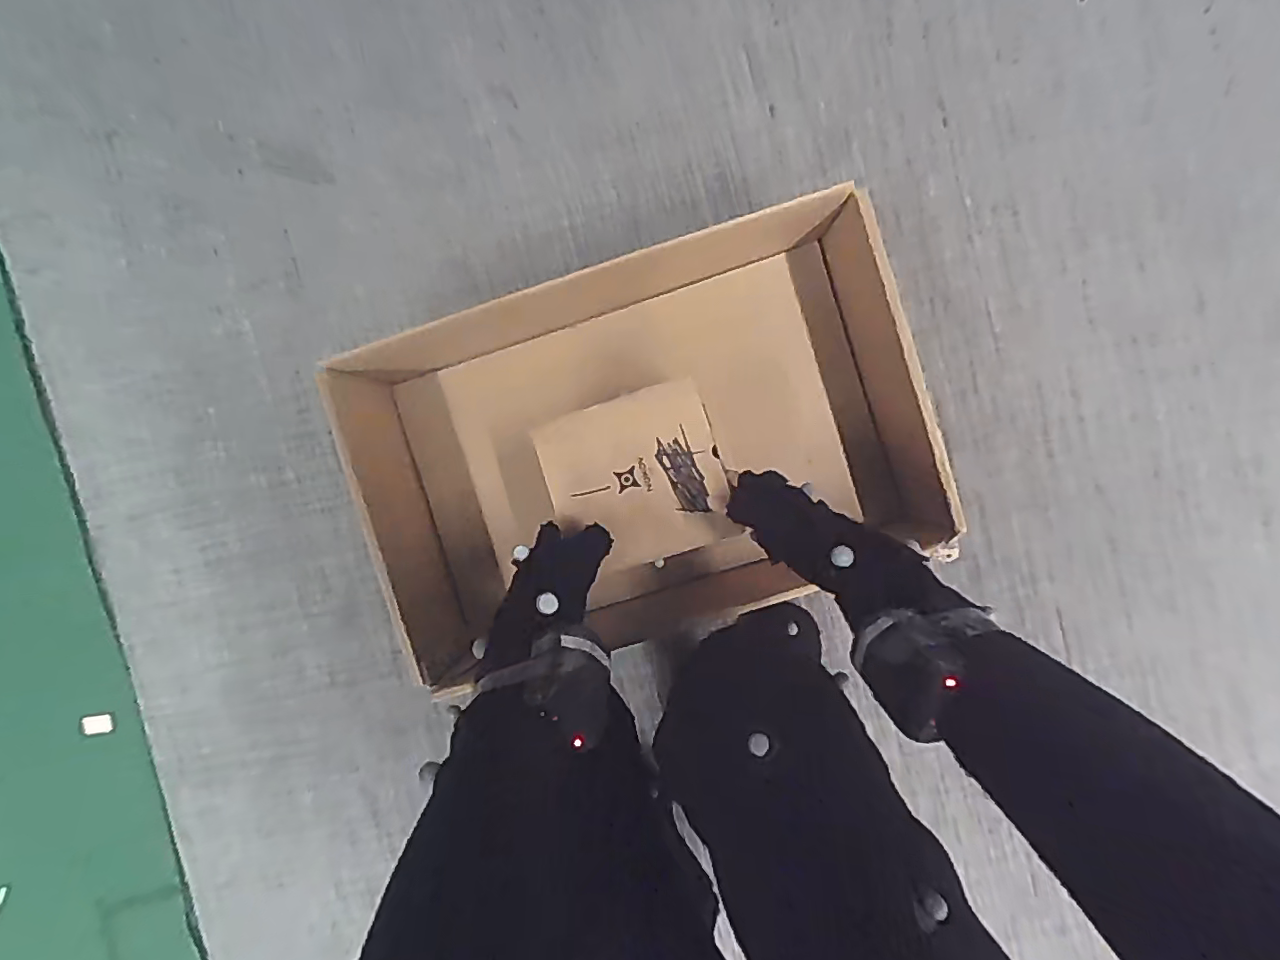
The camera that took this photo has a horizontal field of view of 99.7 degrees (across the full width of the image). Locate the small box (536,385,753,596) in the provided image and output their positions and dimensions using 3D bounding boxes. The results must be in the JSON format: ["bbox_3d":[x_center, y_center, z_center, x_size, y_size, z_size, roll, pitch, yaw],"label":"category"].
[{"bbox_3d":[0.007,0.013,0.611,0.179,0.176,0.168,-21,85,3],"label":"small box"}]
